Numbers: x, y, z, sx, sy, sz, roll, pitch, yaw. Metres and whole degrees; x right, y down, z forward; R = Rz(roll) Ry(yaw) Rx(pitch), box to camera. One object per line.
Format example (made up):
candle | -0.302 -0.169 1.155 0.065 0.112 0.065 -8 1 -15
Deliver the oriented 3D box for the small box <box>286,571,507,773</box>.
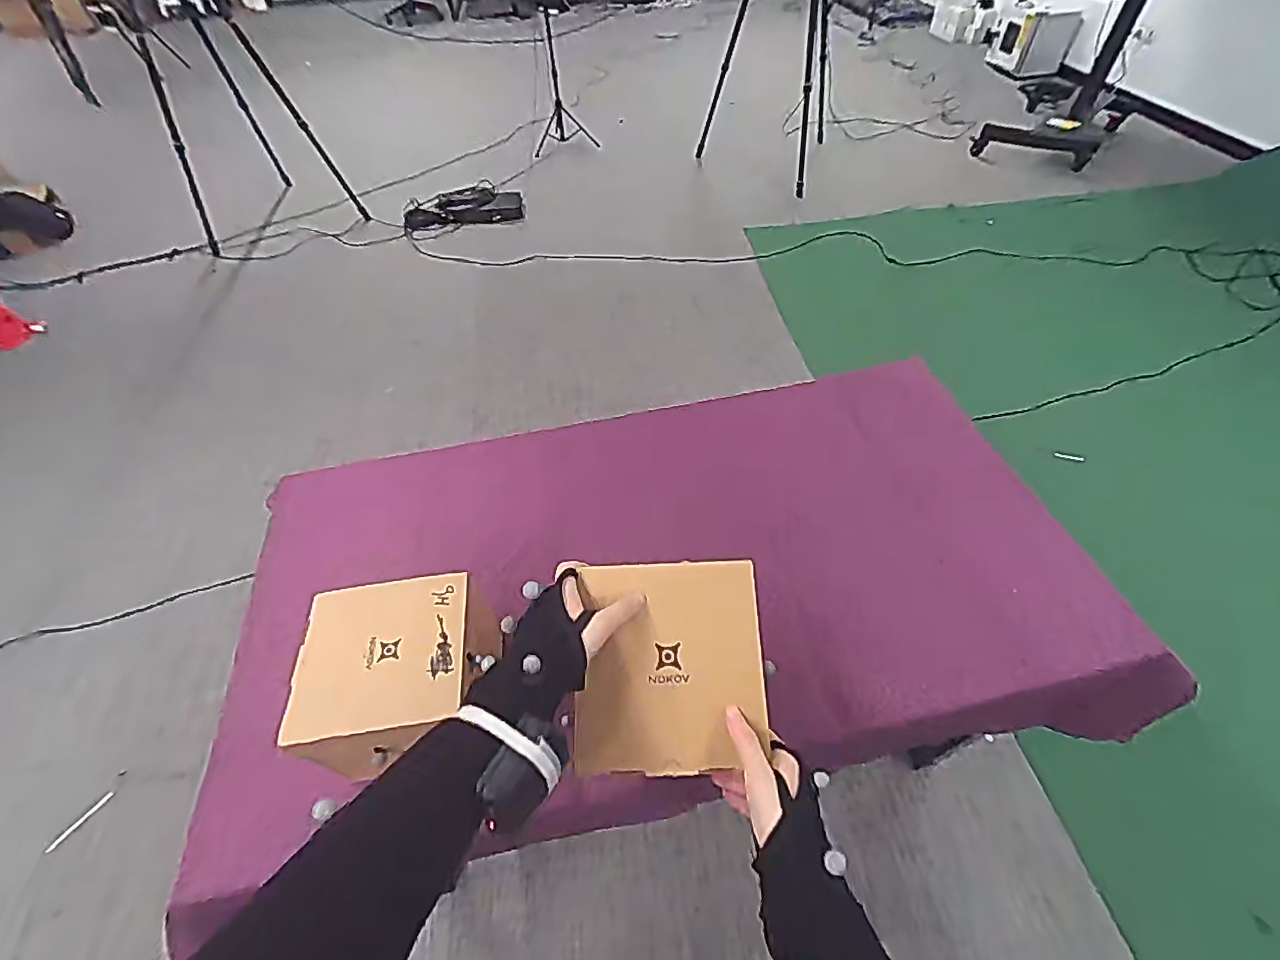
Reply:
small box | -0.264 0.230 0.636 0.179 0.176 0.168 -8 53 -4

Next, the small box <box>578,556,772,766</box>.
small box | 0.029 0.182 0.554 0.168 0.176 0.179 -2 71 2
